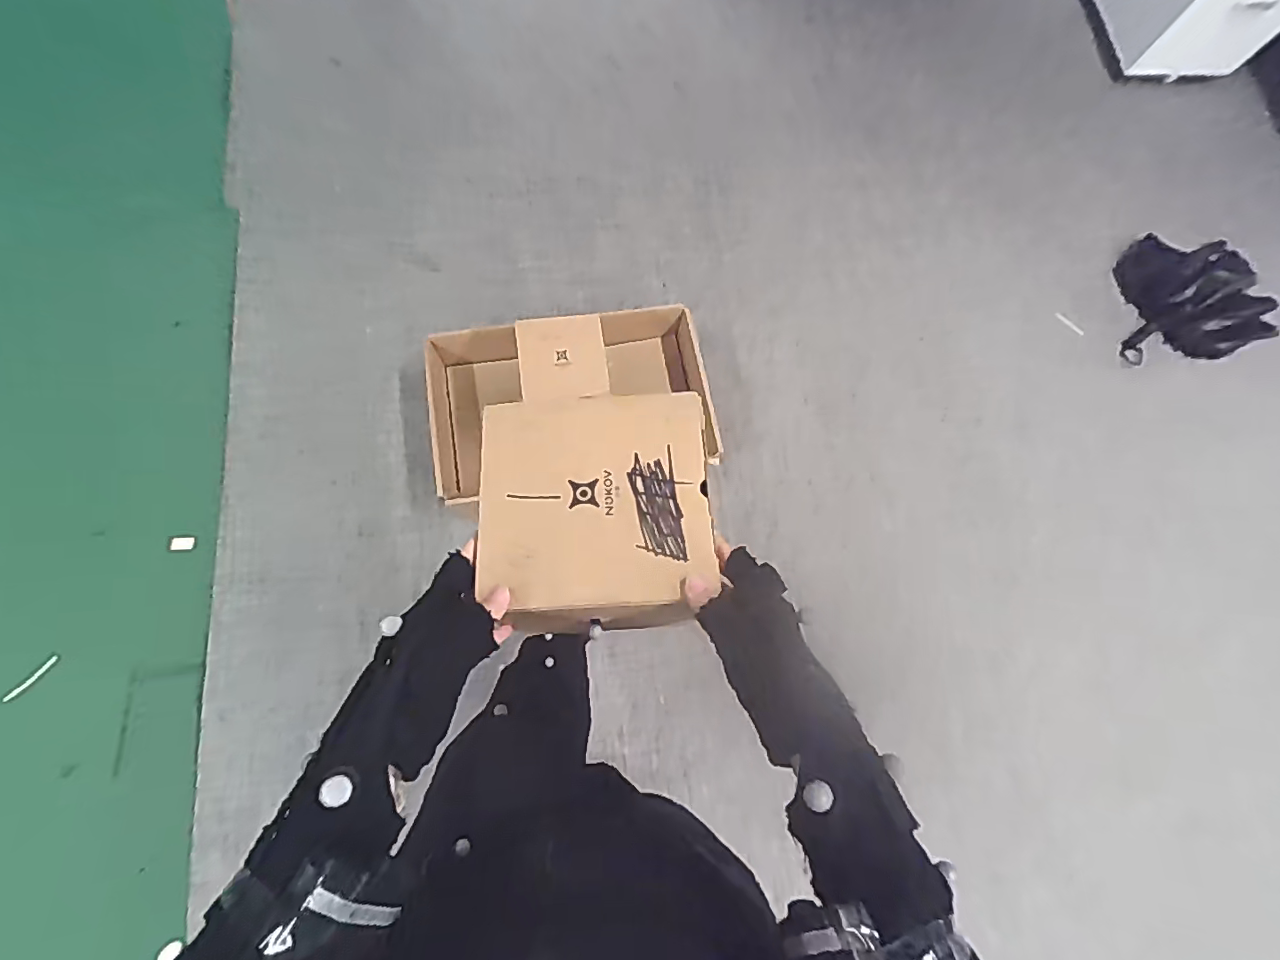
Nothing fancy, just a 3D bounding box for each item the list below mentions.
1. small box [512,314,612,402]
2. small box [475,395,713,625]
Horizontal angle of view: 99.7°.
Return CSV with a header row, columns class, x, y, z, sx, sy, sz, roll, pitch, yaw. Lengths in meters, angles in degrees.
class,x,y,z,sx,sy,sz,roll,pitch,yaw
small box,-0.151,-0.205,1.090,0.168,0.176,0.179,-12,77,-7
small box,-0.036,0.038,0.494,0.179,0.176,0.168,-4,69,0
